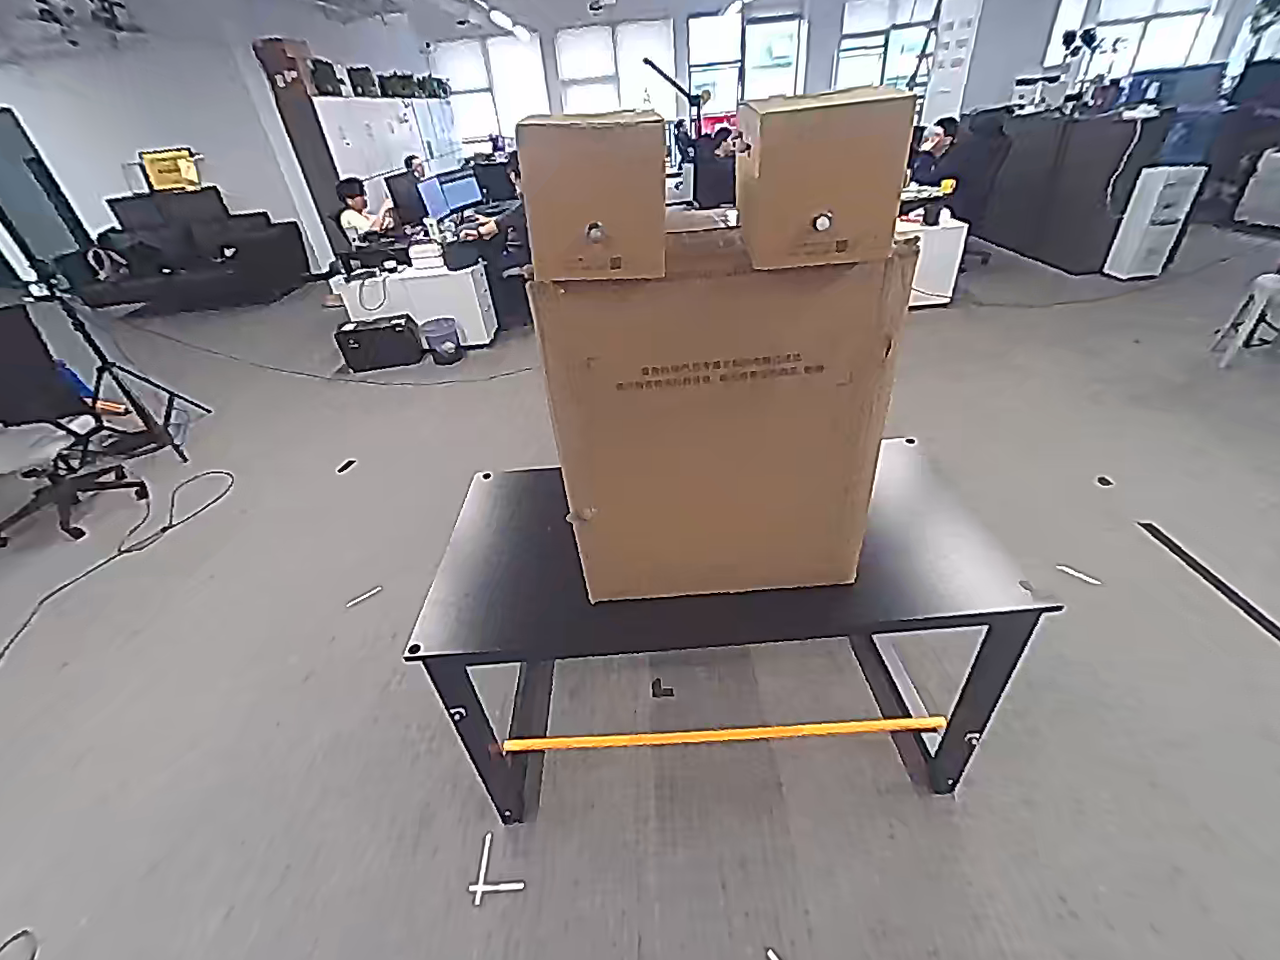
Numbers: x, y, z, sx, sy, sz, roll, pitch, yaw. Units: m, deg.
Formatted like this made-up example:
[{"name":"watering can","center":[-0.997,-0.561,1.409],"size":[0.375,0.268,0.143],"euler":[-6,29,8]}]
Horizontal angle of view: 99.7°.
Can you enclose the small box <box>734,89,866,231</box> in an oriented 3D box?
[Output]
[{"name":"small box","center":[0.239,-0.499,0.851],"size":[0.168,0.176,0.179],"euler":[-5,33,5]}]
